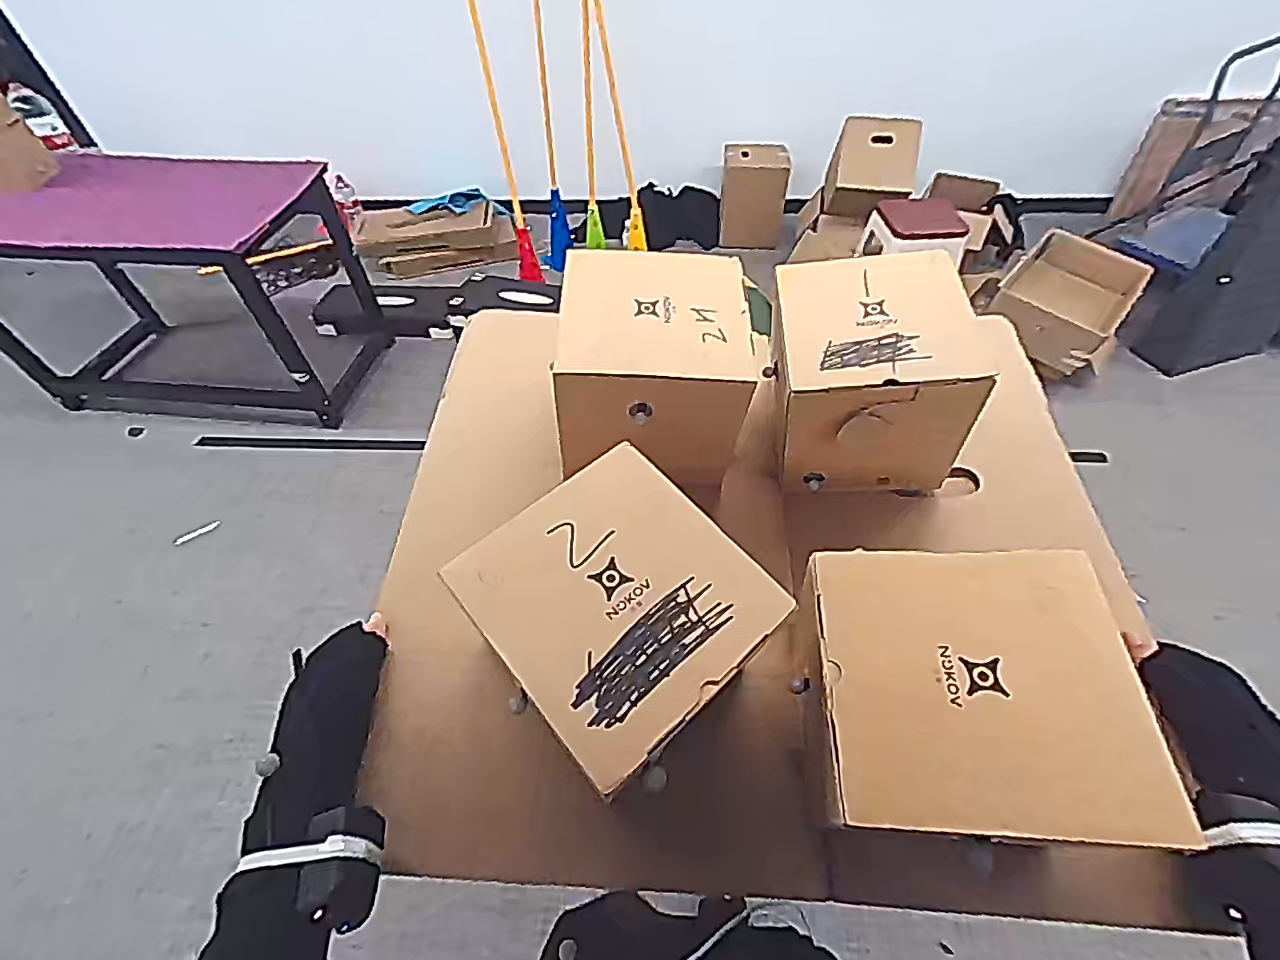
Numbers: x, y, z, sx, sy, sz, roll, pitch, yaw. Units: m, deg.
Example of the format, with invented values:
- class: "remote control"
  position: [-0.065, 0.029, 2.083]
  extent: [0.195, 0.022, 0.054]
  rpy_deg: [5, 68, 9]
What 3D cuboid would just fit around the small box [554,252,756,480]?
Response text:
- class: "small box"
  position: [0.011, -0.112, 0.567]
  extent: [0.179, 0.176, 0.168]
  rpy_deg: [3, 59, -3]
